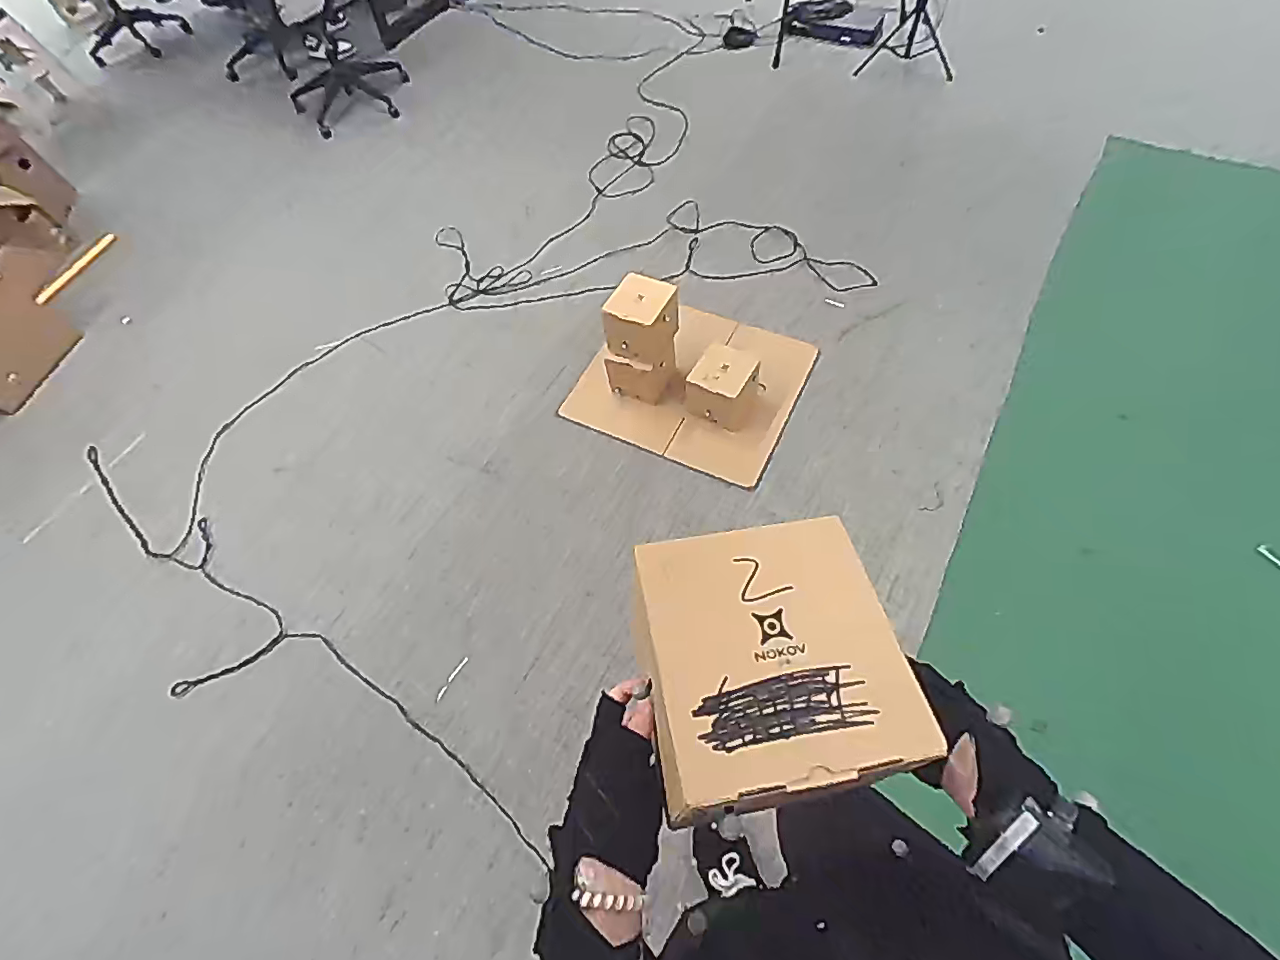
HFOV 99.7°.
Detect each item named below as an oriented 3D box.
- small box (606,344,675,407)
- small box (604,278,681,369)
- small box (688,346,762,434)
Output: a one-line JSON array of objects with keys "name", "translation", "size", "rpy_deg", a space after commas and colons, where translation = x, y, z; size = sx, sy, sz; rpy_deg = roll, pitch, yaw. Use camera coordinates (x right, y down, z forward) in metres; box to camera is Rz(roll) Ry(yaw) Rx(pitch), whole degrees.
[{"name": "small box", "translation": [0.010, -0.367, 1.763], "size": [0.168, 0.176, 0.179], "rpy_deg": [20, 64, 17]}, {"name": "small box", "translation": [0.012, -0.469, 1.632], "size": [0.168, 0.176, 0.179], "rpy_deg": [23, 65, 18]}, {"name": "small box", "translation": [0.262, -0.277, 1.686], "size": [0.168, 0.176, 0.179], "rpy_deg": [26, 67, 20]}]
